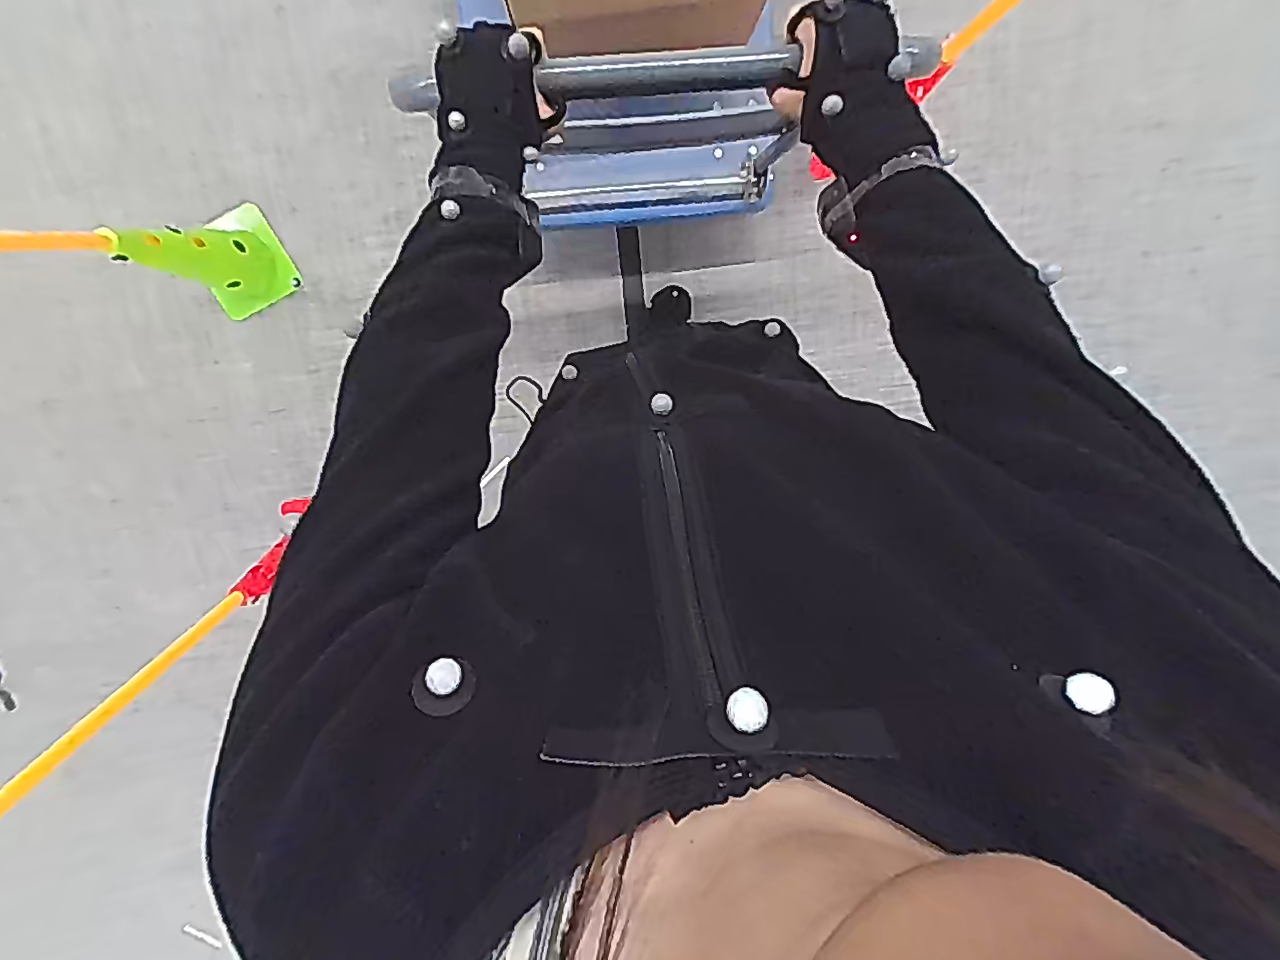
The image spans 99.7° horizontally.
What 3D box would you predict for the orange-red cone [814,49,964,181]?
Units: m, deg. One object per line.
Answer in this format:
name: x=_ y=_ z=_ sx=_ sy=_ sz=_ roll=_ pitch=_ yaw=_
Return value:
orange-red cone: x=0.509 y=-0.740 z=1.059 sx=0.199 sy=0.360 sz=0.198 roll=-1 pitch=106 yaw=-4
